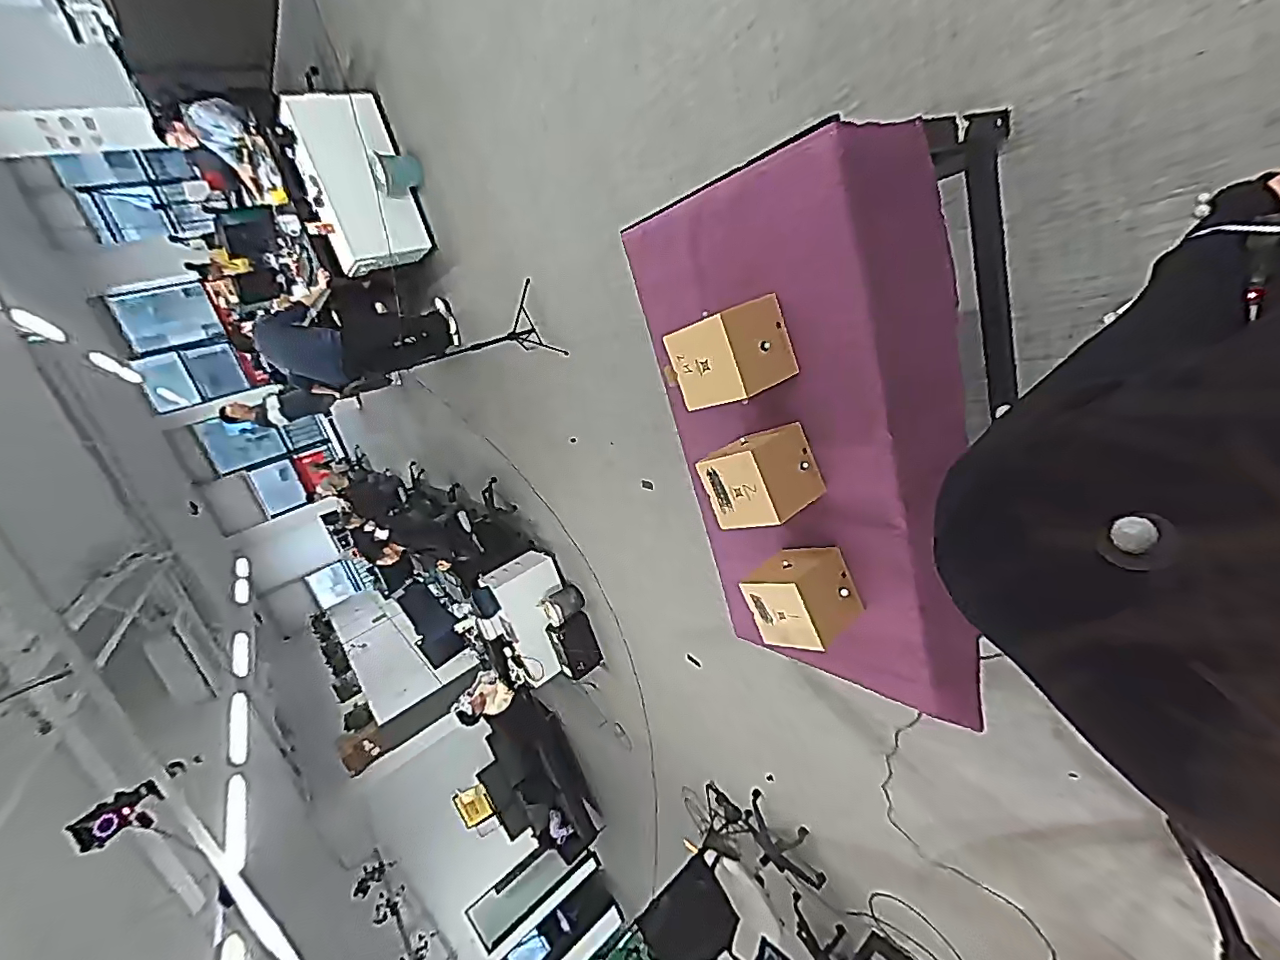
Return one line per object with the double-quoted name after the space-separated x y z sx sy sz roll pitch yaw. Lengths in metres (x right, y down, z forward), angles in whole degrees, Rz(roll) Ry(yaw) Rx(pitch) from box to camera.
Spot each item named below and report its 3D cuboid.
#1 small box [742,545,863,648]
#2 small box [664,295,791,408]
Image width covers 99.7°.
0.374 0.261 1.246 0.179 0.176 0.168 -16 101 58 "small box"
0.185 -0.261 1.105 0.179 0.176 0.168 -2 112 57 "small box"
